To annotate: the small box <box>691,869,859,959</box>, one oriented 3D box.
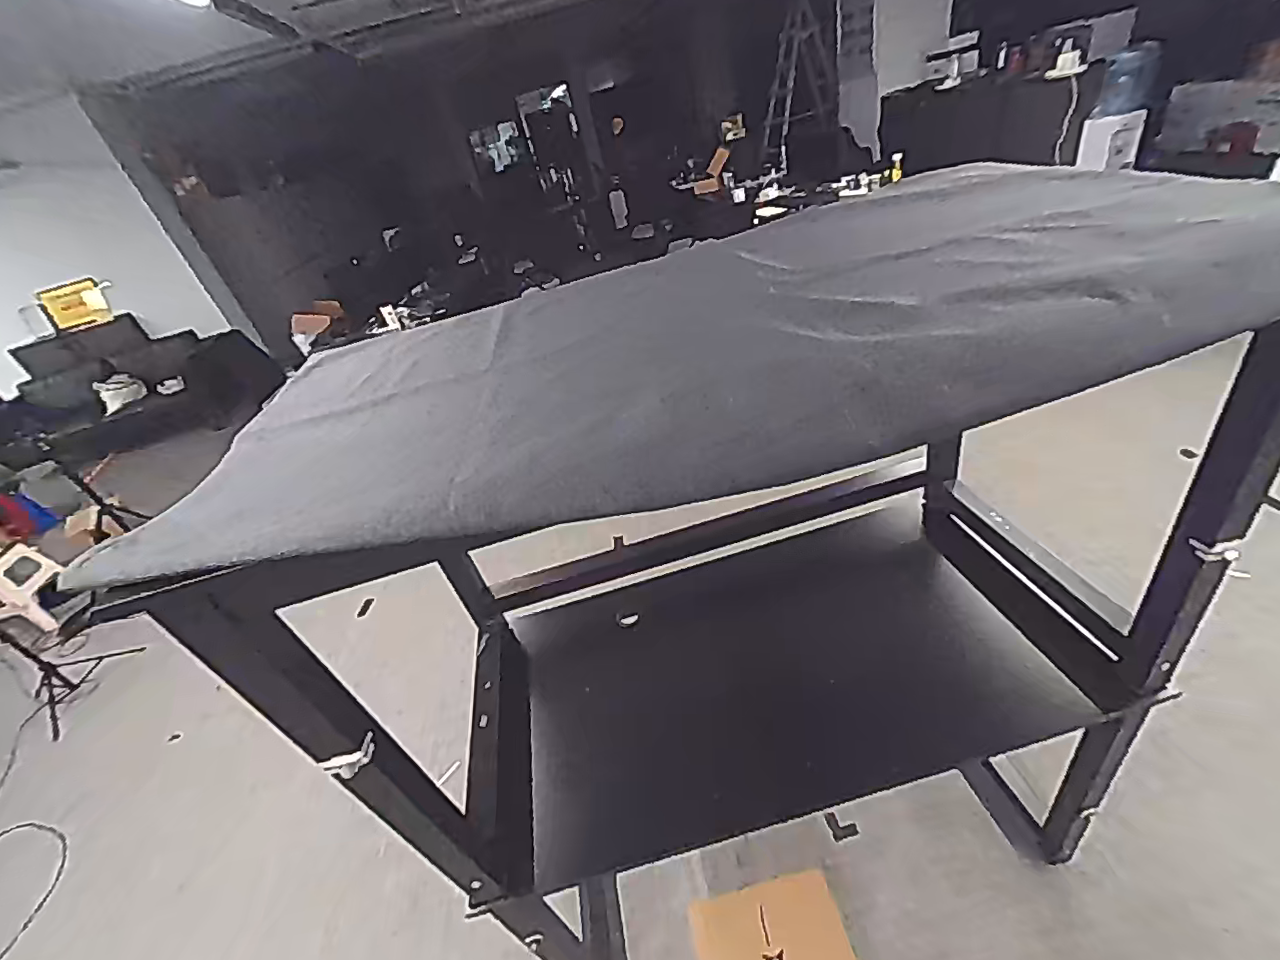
[{"bbox_3d":[0.166,0.580,0.584,0.168,0.176,0.179,-16,23,0],"label":"small box"}]
